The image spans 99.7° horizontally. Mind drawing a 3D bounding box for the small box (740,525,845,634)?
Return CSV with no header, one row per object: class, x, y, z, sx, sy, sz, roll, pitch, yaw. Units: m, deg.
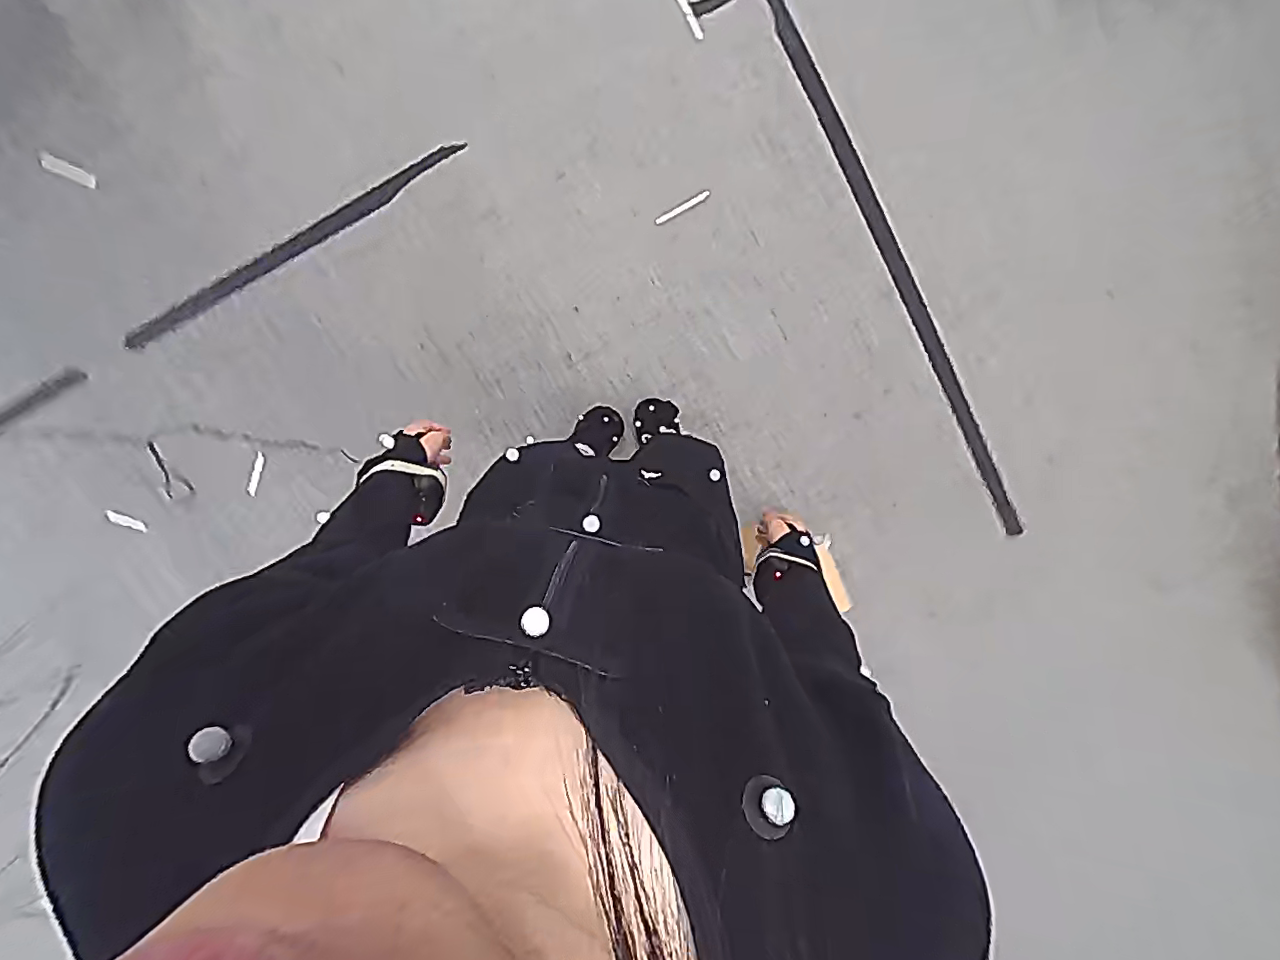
small box,0.358,0.231,1.297,0.168,0.176,0.179,-24,98,3
